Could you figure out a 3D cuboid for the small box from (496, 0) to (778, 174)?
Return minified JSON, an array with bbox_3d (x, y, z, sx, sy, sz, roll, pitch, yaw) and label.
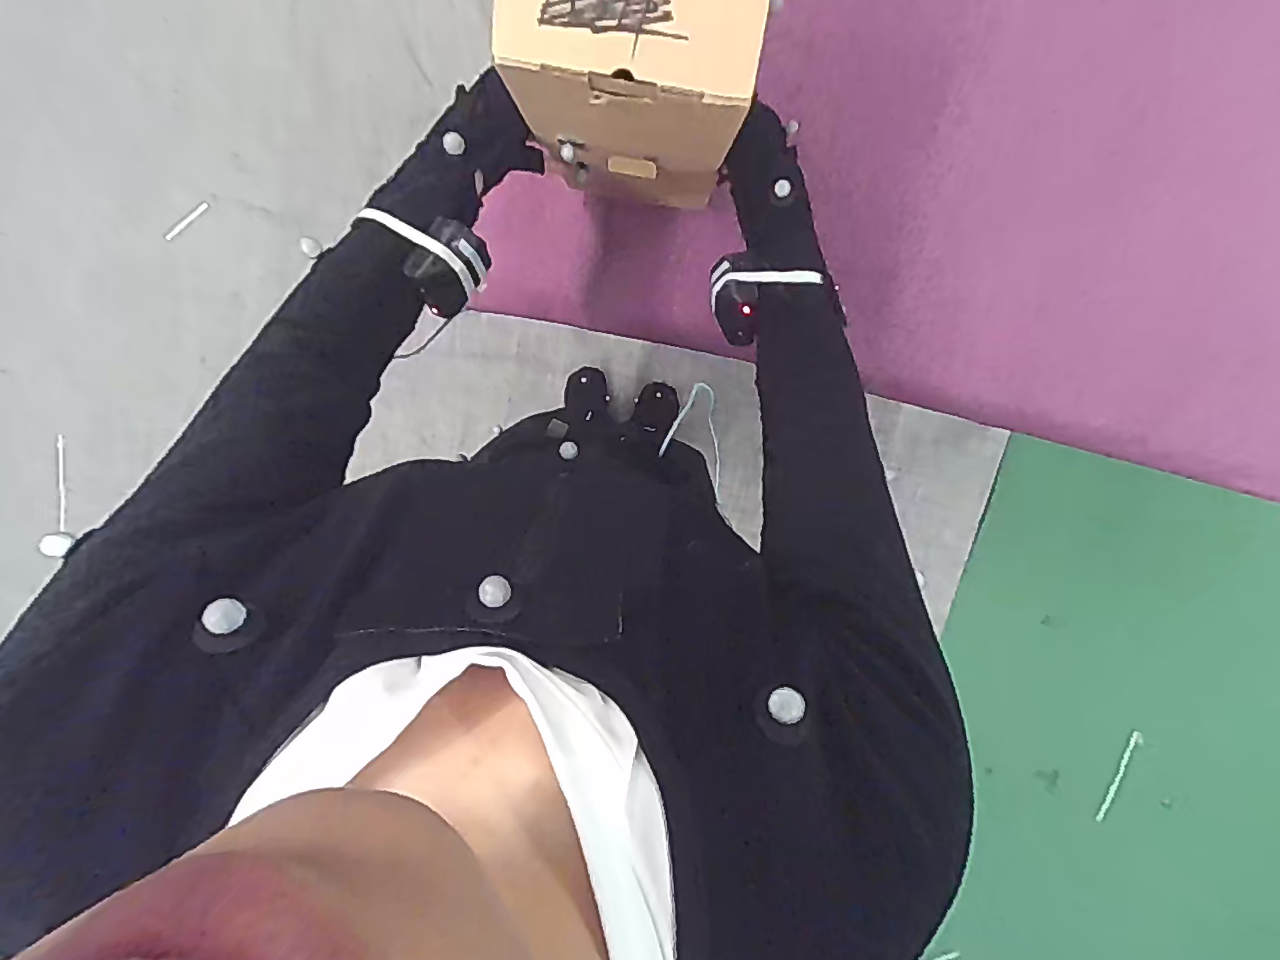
[{"bbox_3d":[0.007,-0.345,0.388,0.168,0.176,0.179,11,107,-5],"label":"small box"}]
